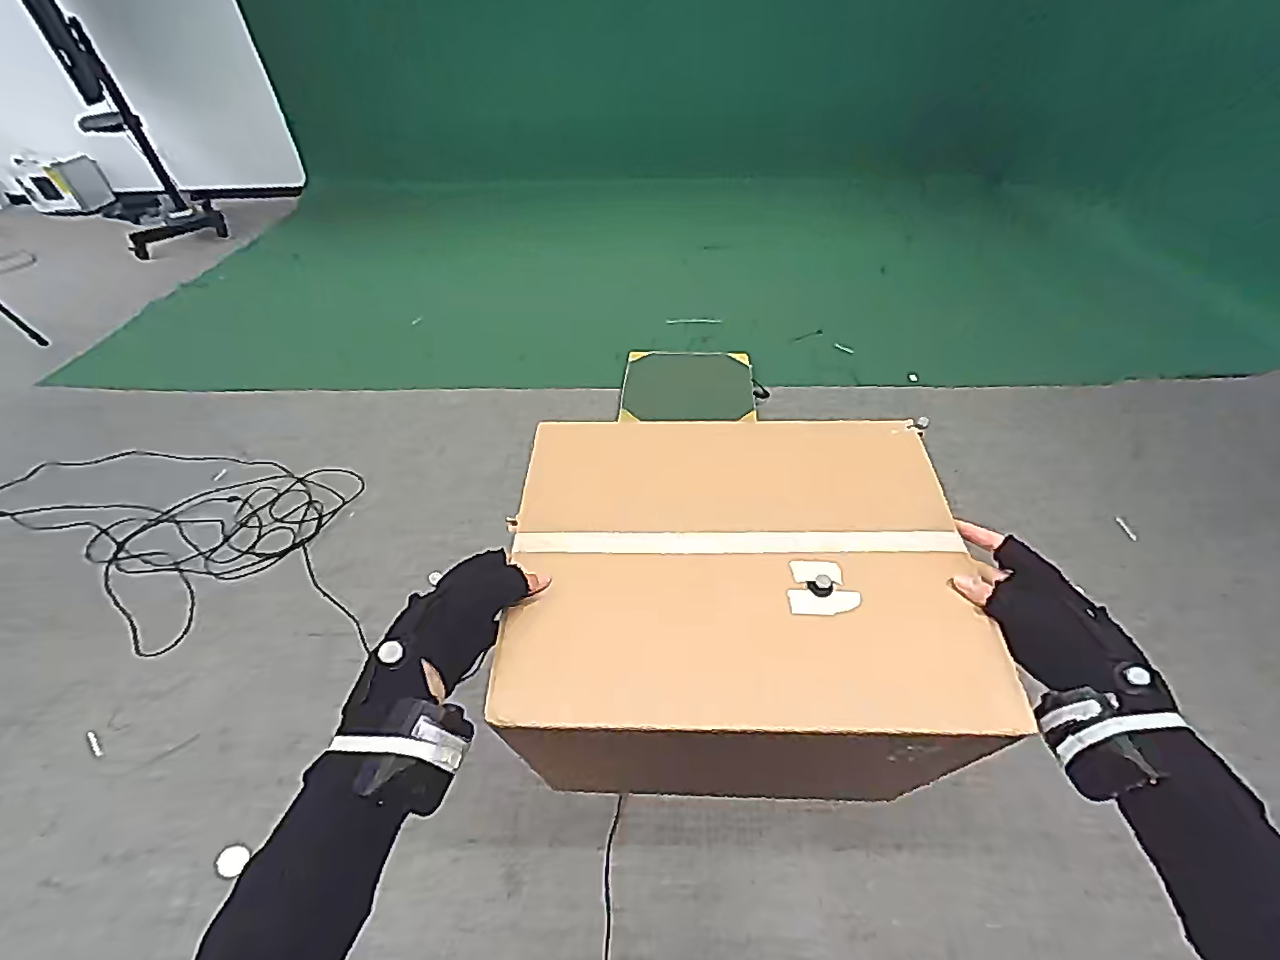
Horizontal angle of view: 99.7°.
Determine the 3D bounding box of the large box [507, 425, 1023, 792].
[{"bbox_3d":[0.095,0.153,0.617,0.408,0.320,0.320,0,52,1],"label":"large box"}]
